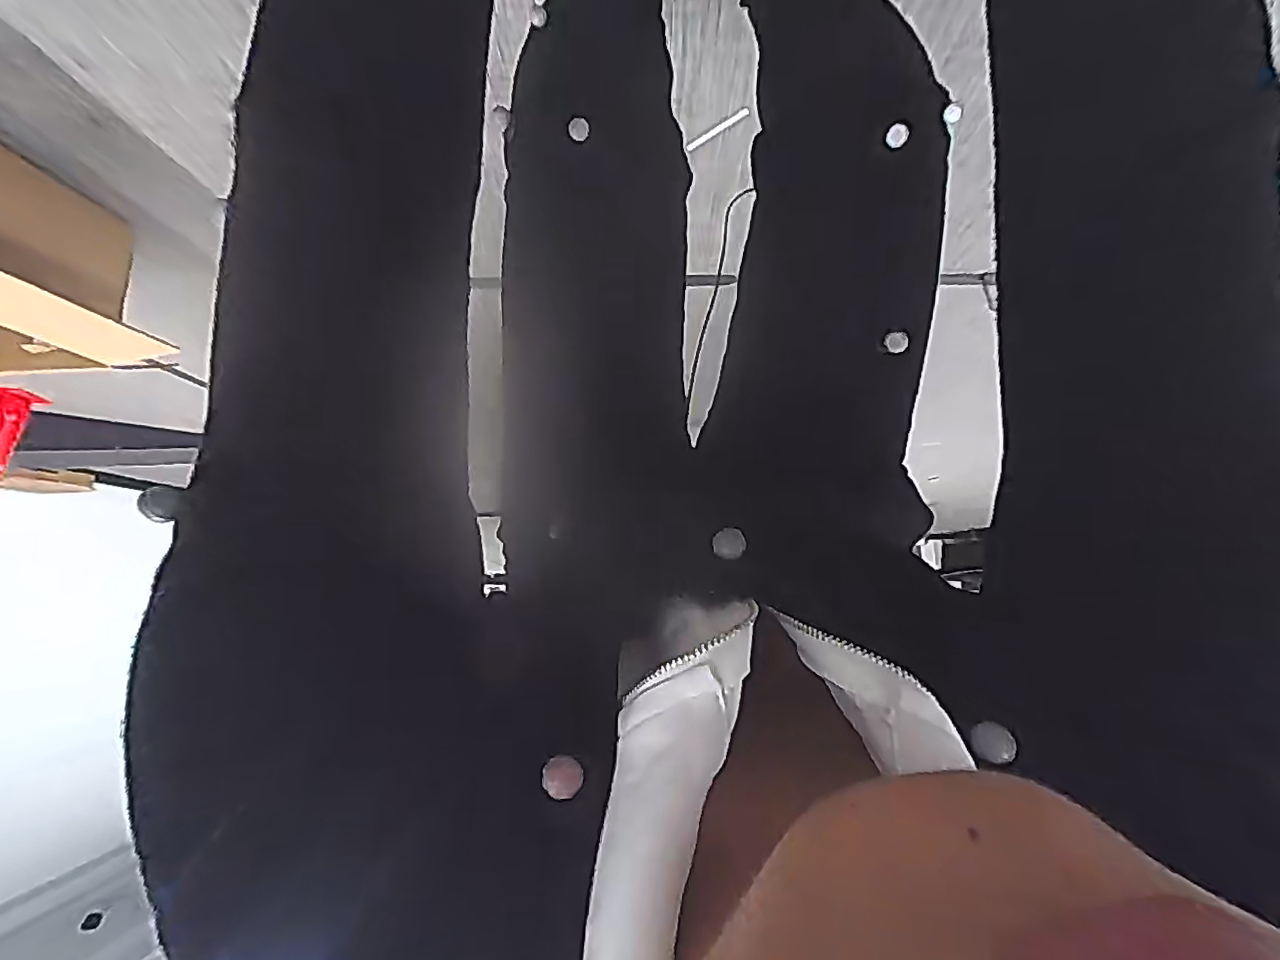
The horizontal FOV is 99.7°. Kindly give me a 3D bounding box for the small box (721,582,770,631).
[{"bbox_3d":[0.385,0.465,1.992,0.168,0.176,0.179,-2,169,8],"label":"small box"}]
